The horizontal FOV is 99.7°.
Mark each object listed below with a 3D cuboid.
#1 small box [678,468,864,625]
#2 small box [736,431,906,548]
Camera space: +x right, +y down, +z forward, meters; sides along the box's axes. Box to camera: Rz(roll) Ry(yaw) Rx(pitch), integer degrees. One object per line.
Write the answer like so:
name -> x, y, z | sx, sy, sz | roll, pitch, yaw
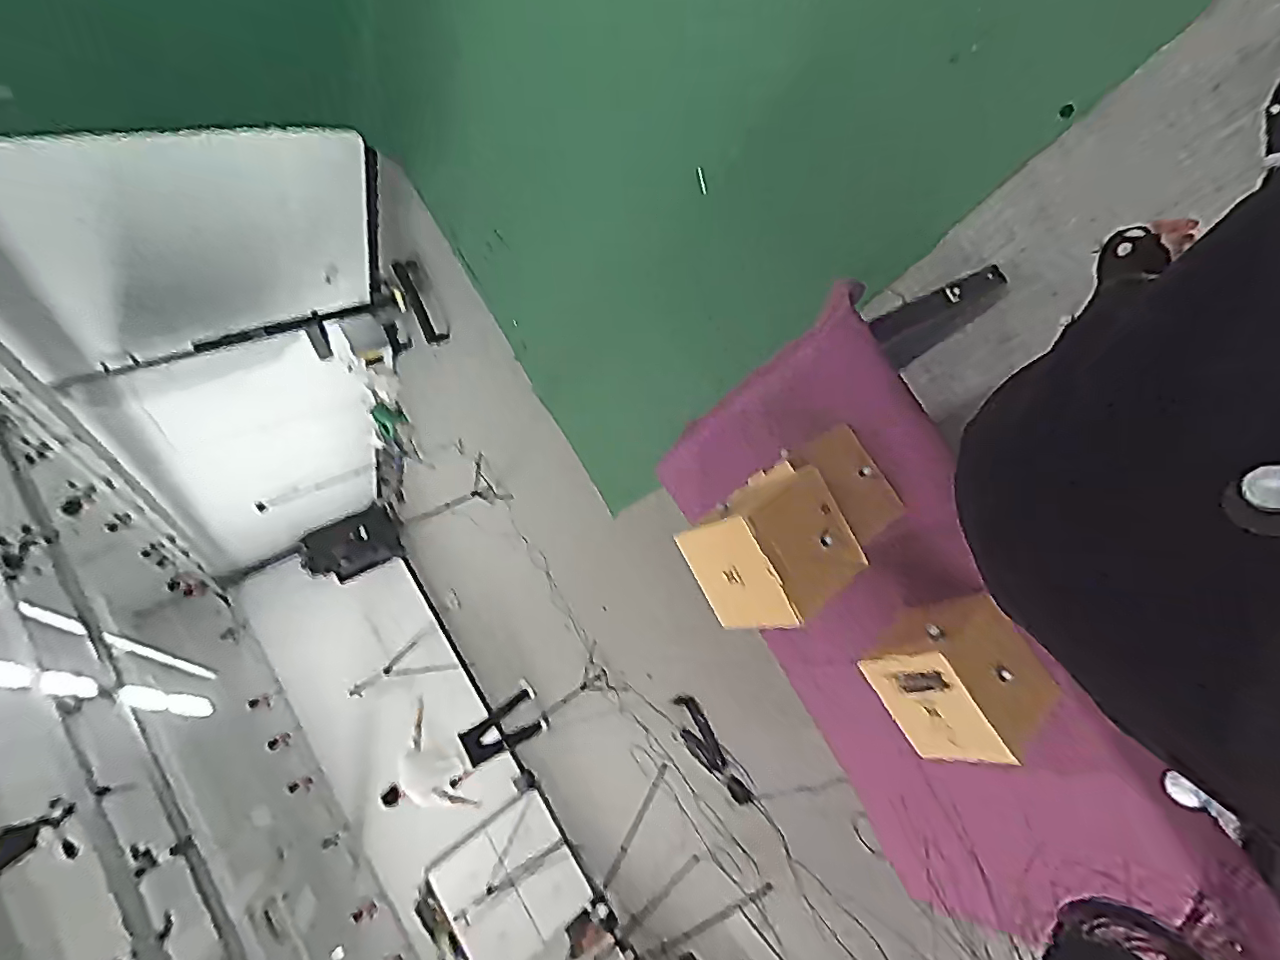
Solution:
small box -> 0.195, 0.102, 0.815 | 0.168, 0.176, 0.179 | 62, 148, 1
small box -> 0.304, 0.035, 0.919 | 0.179, 0.176, 0.168 | 58, 149, 8
